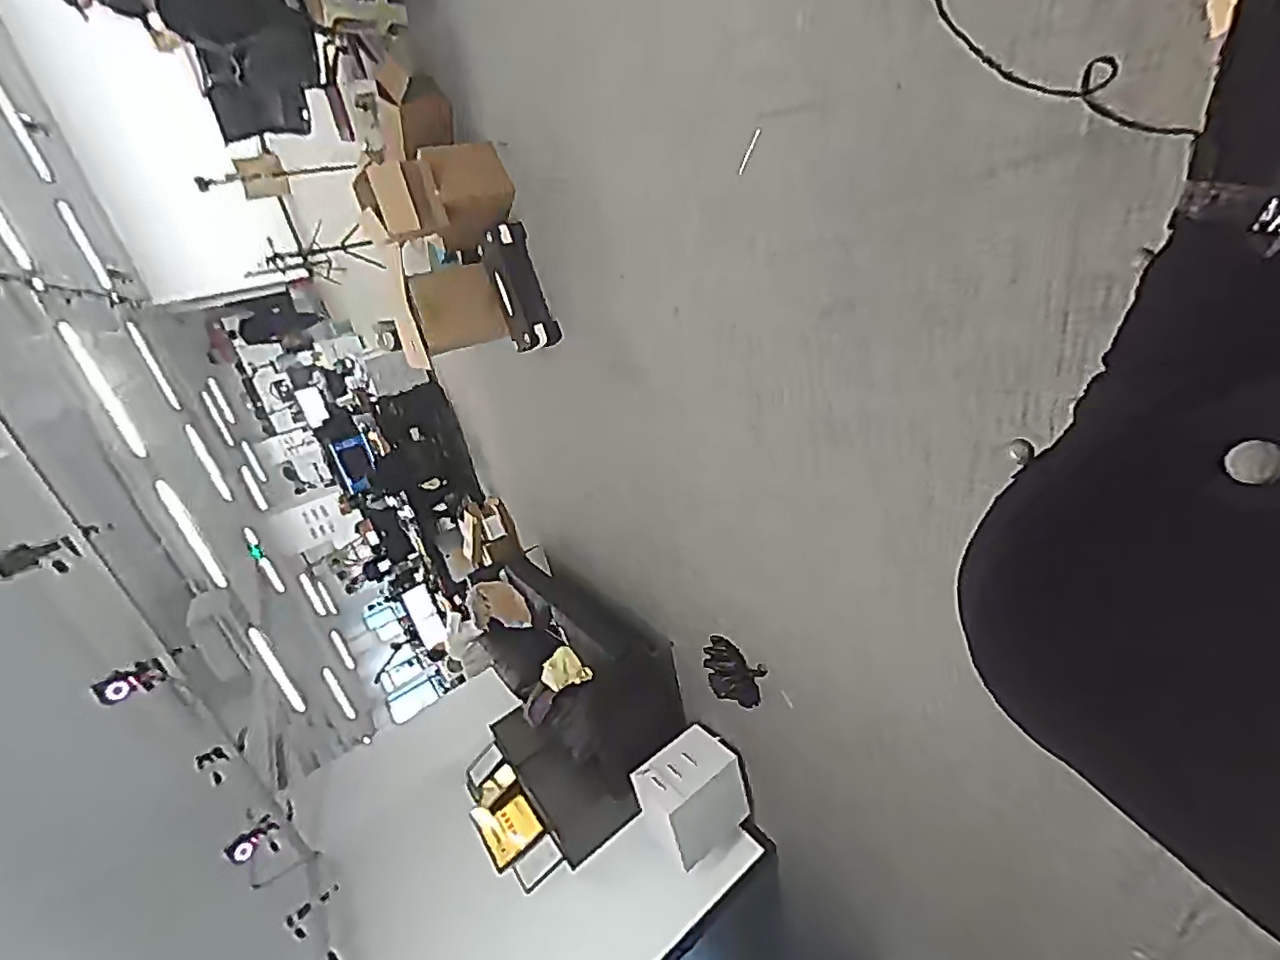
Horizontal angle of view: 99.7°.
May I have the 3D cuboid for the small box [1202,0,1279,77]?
[{"bbox_3d":[0.825,-0.636,0.654,0.168,0.176,0.179,0,112,61],"label":"small box"}]
